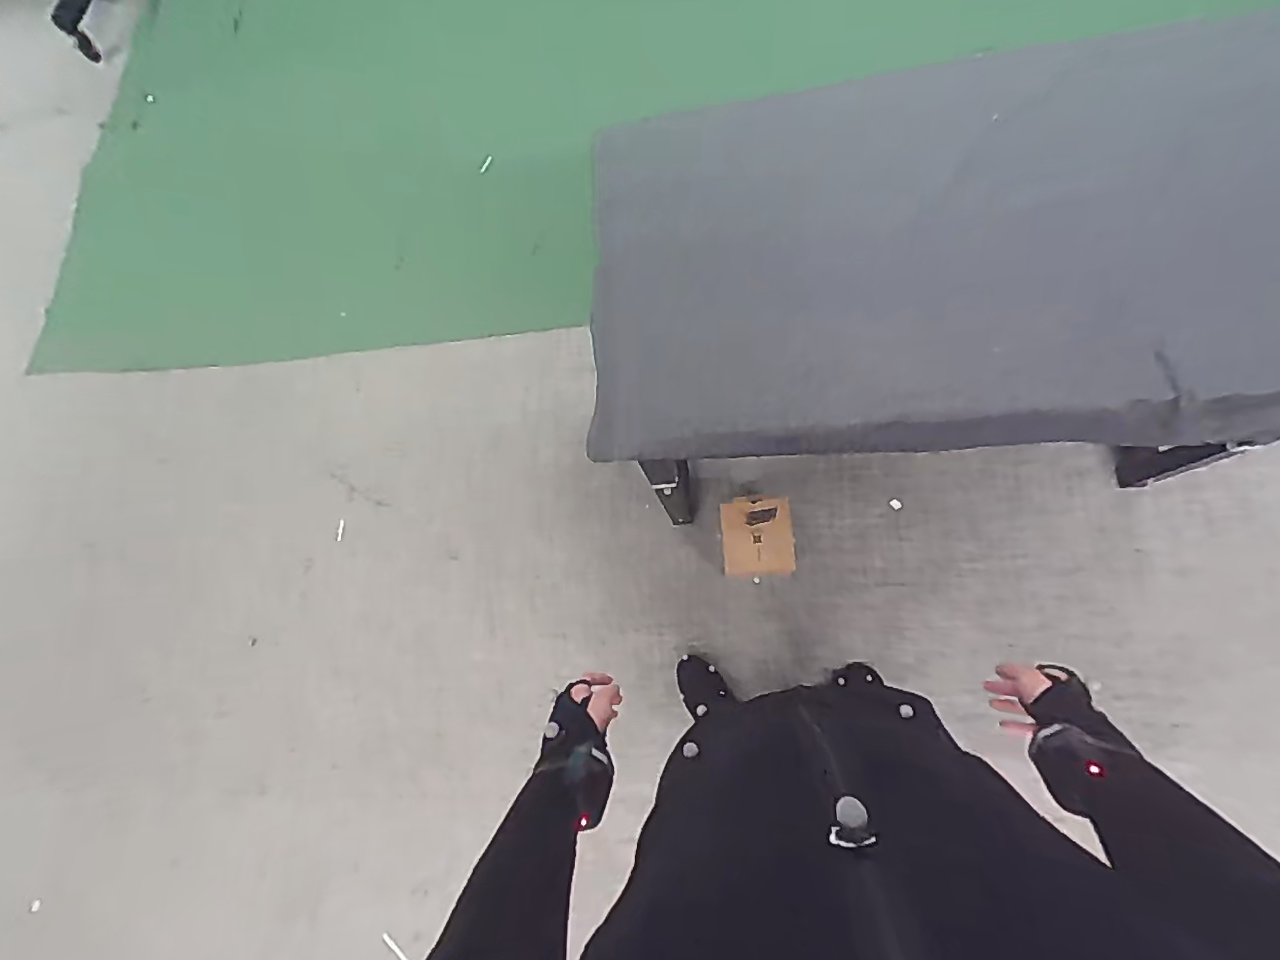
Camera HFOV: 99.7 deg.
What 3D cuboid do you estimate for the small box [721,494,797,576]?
[{"bbox_3d":[0.292,0.144,1.365,0.168,0.176,0.179,-6,76,8],"label":"small box"}]
